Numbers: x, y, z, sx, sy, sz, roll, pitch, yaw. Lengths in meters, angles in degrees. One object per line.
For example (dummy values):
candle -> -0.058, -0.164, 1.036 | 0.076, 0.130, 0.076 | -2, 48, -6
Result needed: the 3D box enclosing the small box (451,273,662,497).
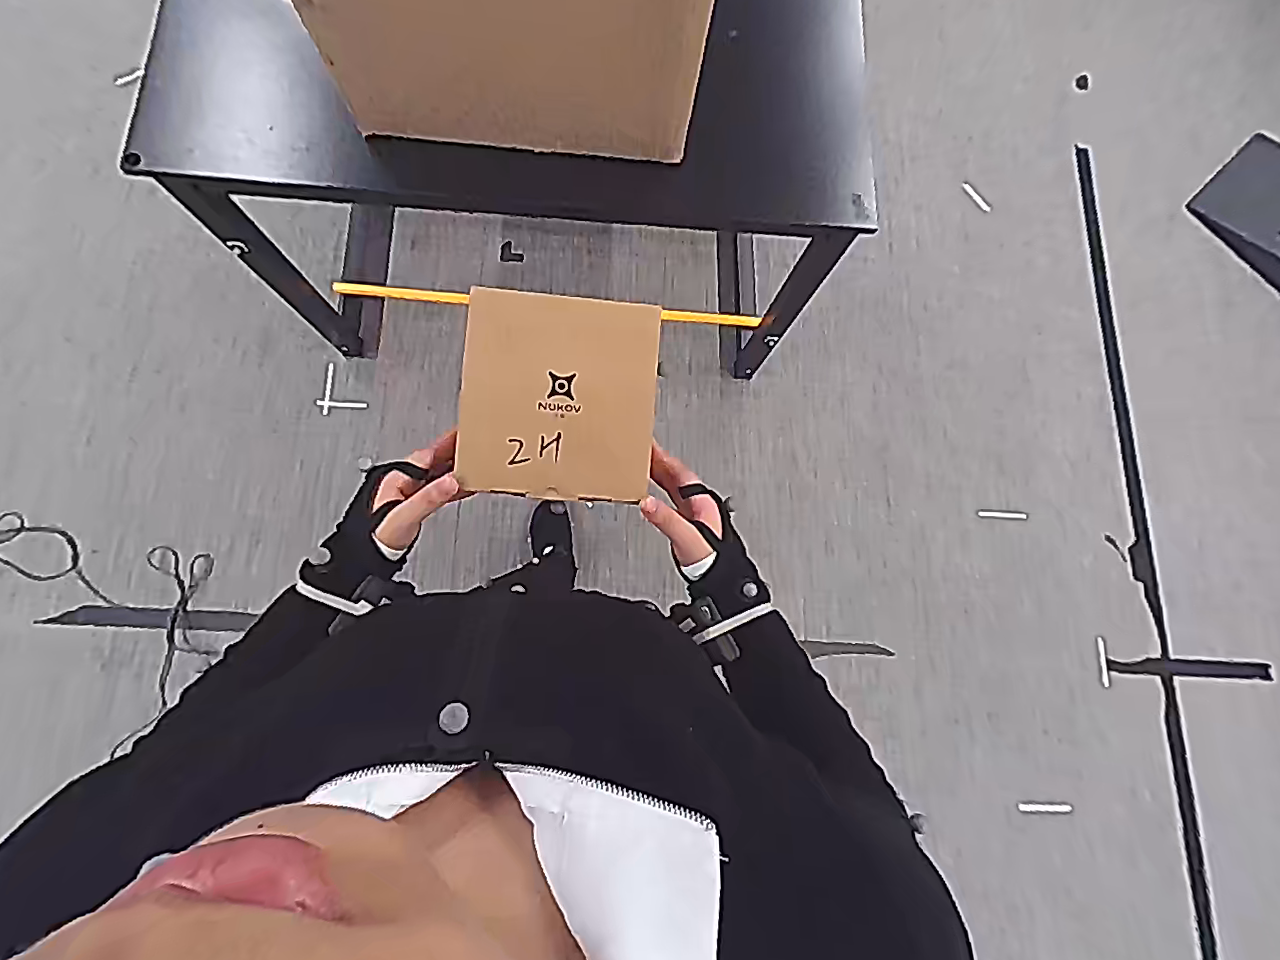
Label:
small box -> -0.076, -0.078, 0.539 | 0.168, 0.176, 0.179 | 5, 87, -4
